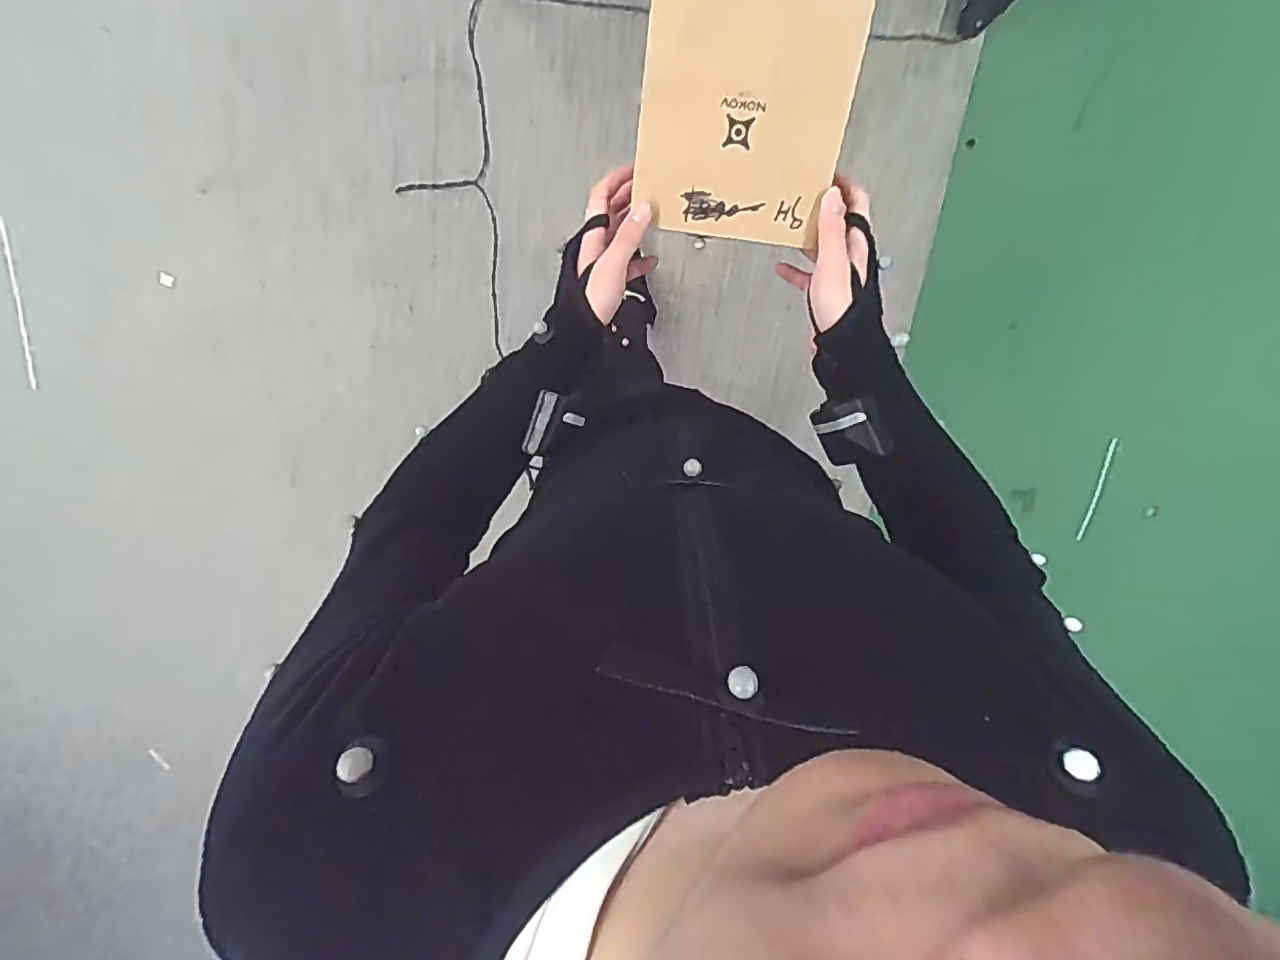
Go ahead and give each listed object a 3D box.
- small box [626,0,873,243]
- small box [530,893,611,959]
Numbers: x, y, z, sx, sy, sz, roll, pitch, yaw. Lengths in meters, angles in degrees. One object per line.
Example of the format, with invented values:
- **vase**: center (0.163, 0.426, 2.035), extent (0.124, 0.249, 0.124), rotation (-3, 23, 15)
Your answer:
- **small box**: center (0.085, -0.327, 0.499), extent (0.168, 0.176, 0.179), rotation (9, 116, 1)
- **small box**: center (-0.160, 1.078, 1.206), extent (0.168, 0.176, 0.179), rotation (9, 104, -2)
